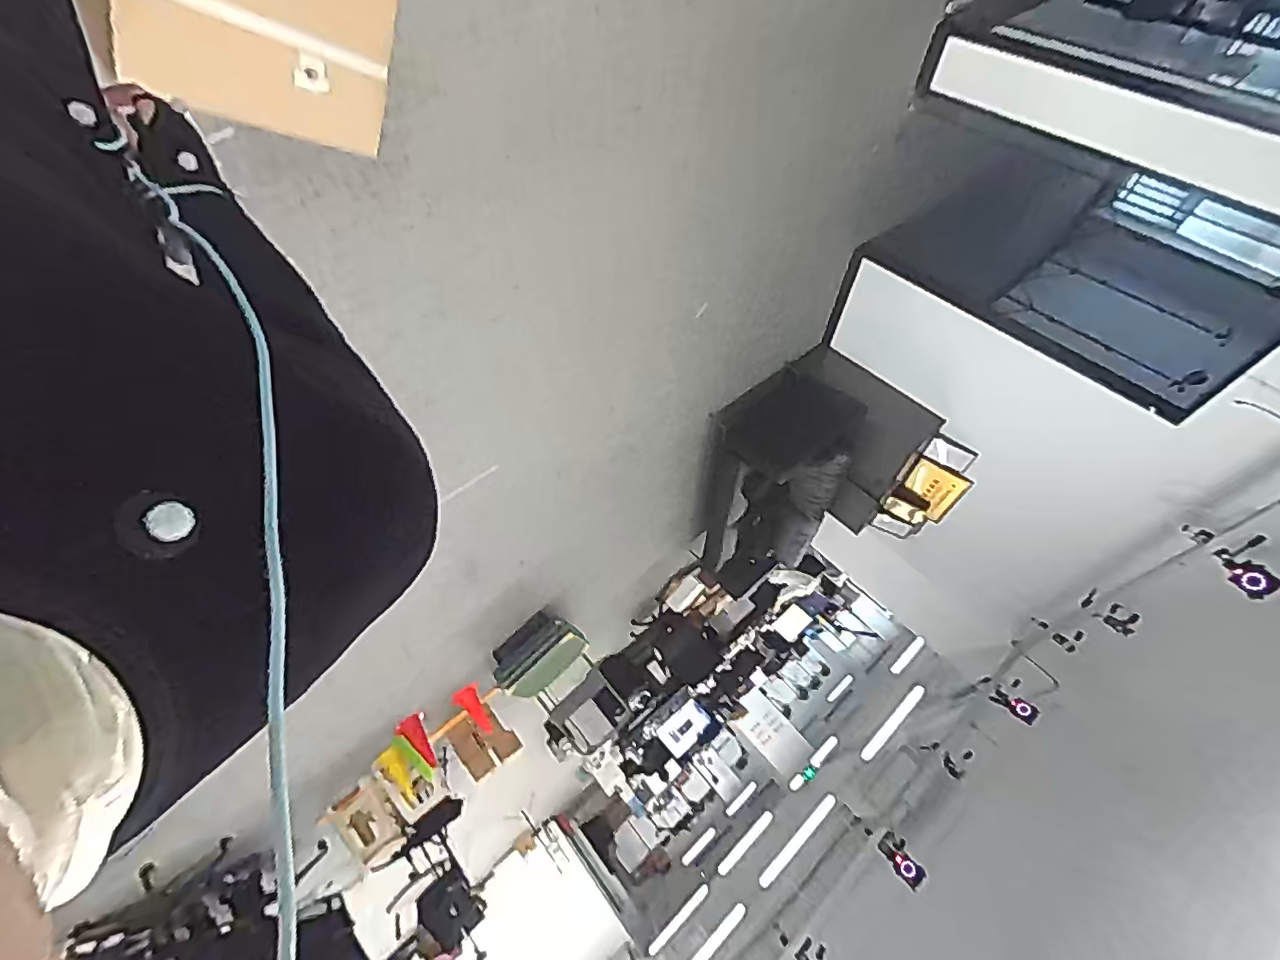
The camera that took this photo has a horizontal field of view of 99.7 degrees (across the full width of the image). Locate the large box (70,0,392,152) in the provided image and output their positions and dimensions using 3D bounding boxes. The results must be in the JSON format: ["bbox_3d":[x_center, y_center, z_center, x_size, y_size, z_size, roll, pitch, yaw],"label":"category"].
[{"bbox_3d":[-0.725,-0.852,0.966,0.408,0.320,0.320,-16,141,-49],"label":"large box"}]
